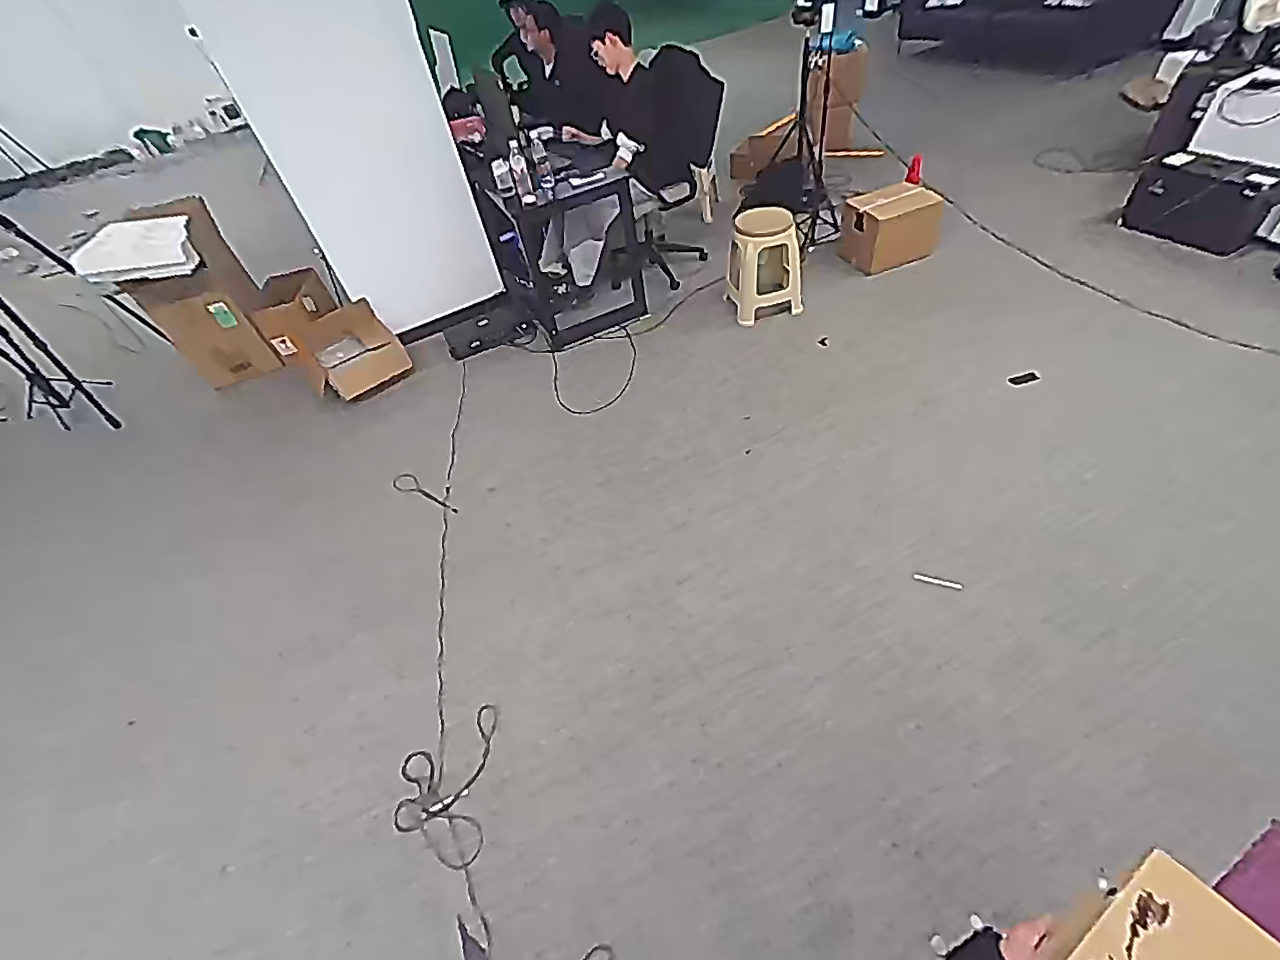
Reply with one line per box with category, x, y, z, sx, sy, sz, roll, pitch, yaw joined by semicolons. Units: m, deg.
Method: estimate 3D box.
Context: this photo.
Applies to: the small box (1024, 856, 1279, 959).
small box;0.518;0.515;0.521;0.168;0.176;0.179;-30;45;-17
